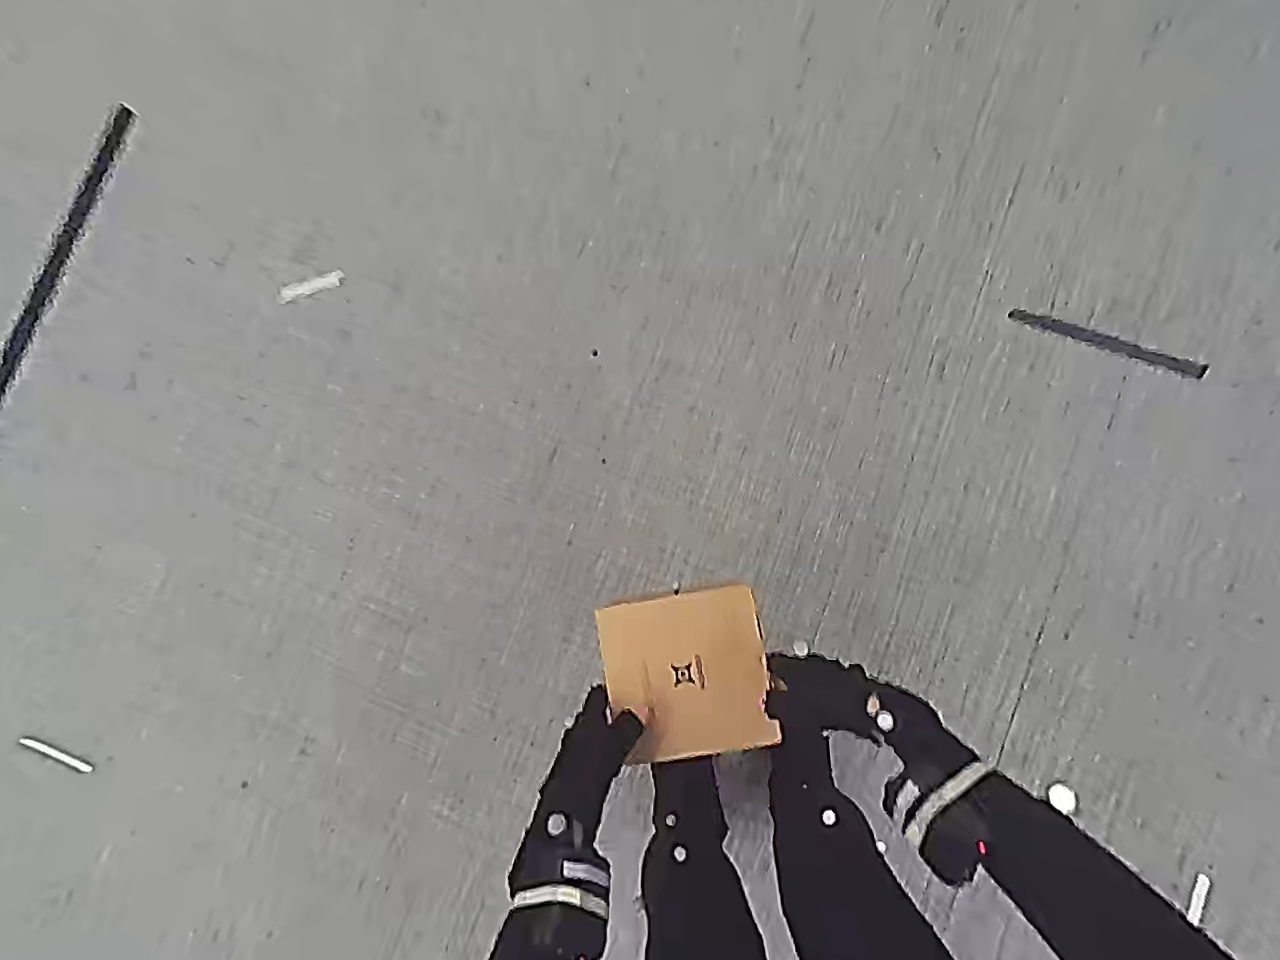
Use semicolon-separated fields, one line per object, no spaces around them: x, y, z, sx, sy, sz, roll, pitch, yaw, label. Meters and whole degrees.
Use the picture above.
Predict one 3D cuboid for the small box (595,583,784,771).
0.052;0.215;0.636;0.179;0.176;0.168;-10;80;2;small box
